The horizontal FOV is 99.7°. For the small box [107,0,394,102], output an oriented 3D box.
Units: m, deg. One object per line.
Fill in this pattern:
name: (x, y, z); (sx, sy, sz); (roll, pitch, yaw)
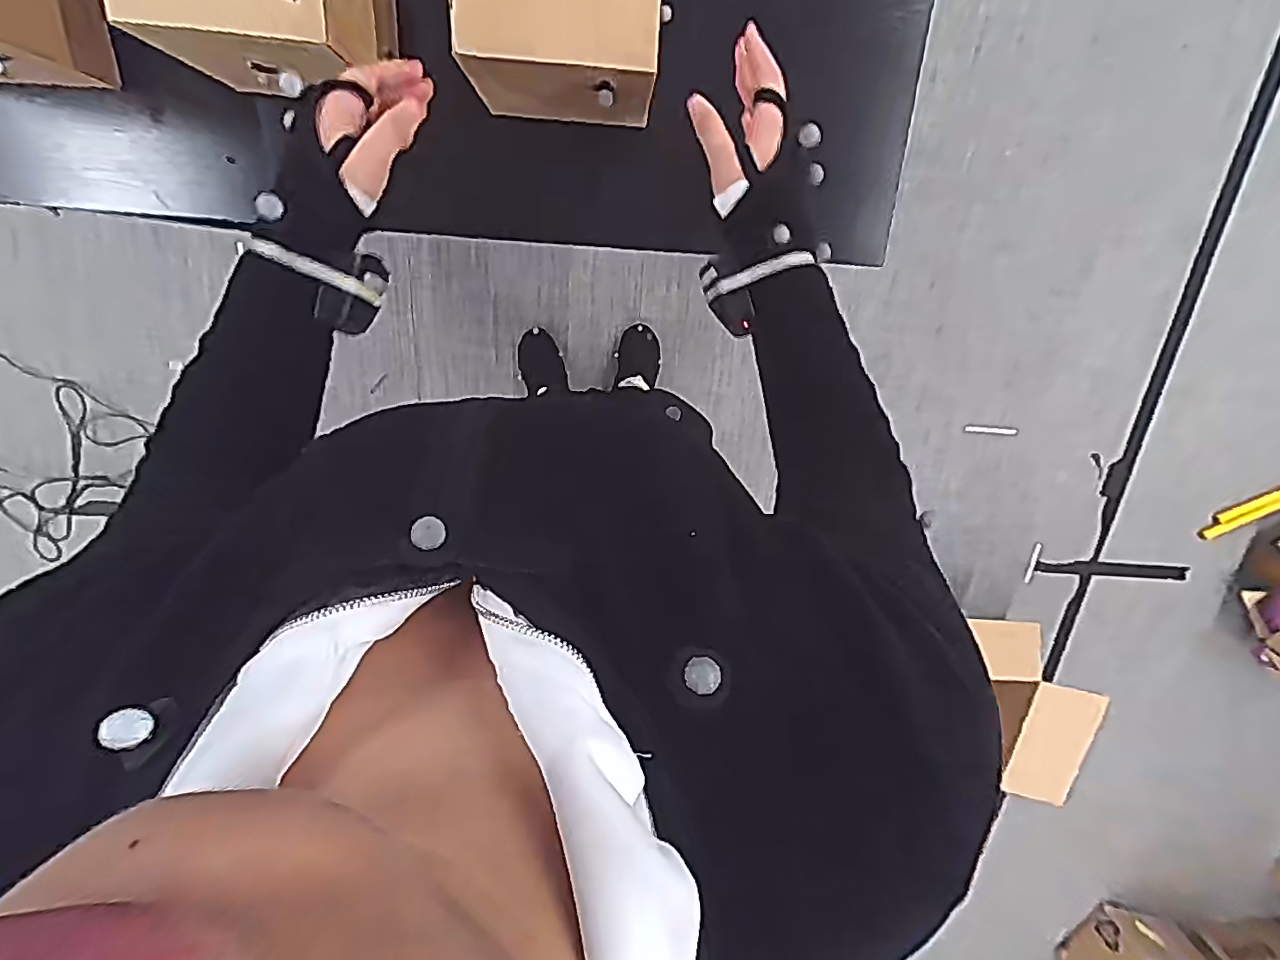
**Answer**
small box: (-0.341, -0.470, 0.493); (0.179, 0.176, 0.168); (3, 109, -3)

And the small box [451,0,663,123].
small box: (-0.071, -0.459, 0.512); (0.179, 0.176, 0.168); (2, 109, -3)

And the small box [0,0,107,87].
small box: (-0.635, -0.474, 0.477); (0.179, 0.176, 0.168); (0, 109, -3)
